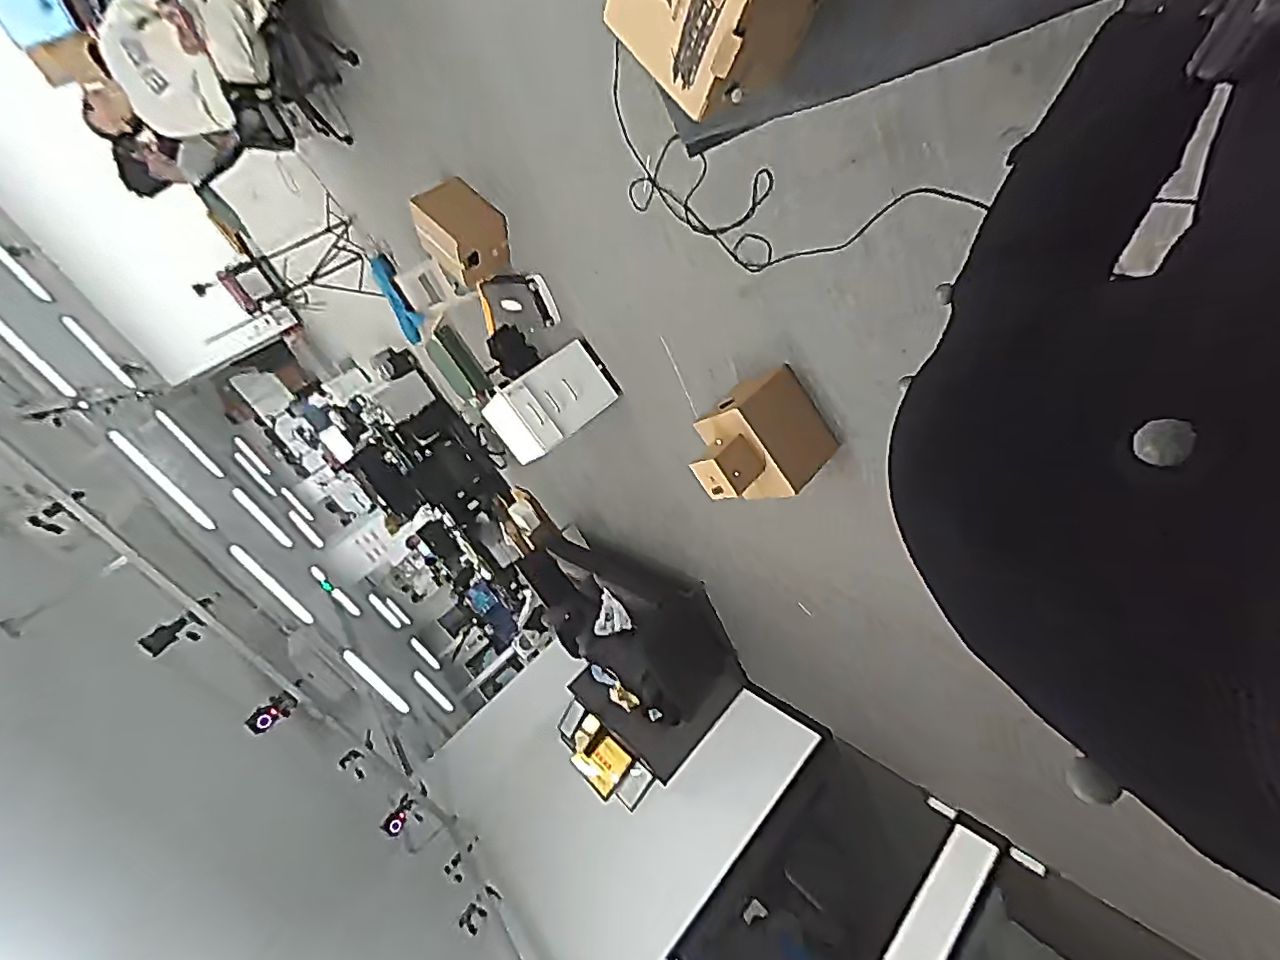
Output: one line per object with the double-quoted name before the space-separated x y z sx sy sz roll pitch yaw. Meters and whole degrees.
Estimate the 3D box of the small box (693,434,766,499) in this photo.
"small box" 0.343 -0.050 2.045 0.179 0.176 0.168 55 155 -11
